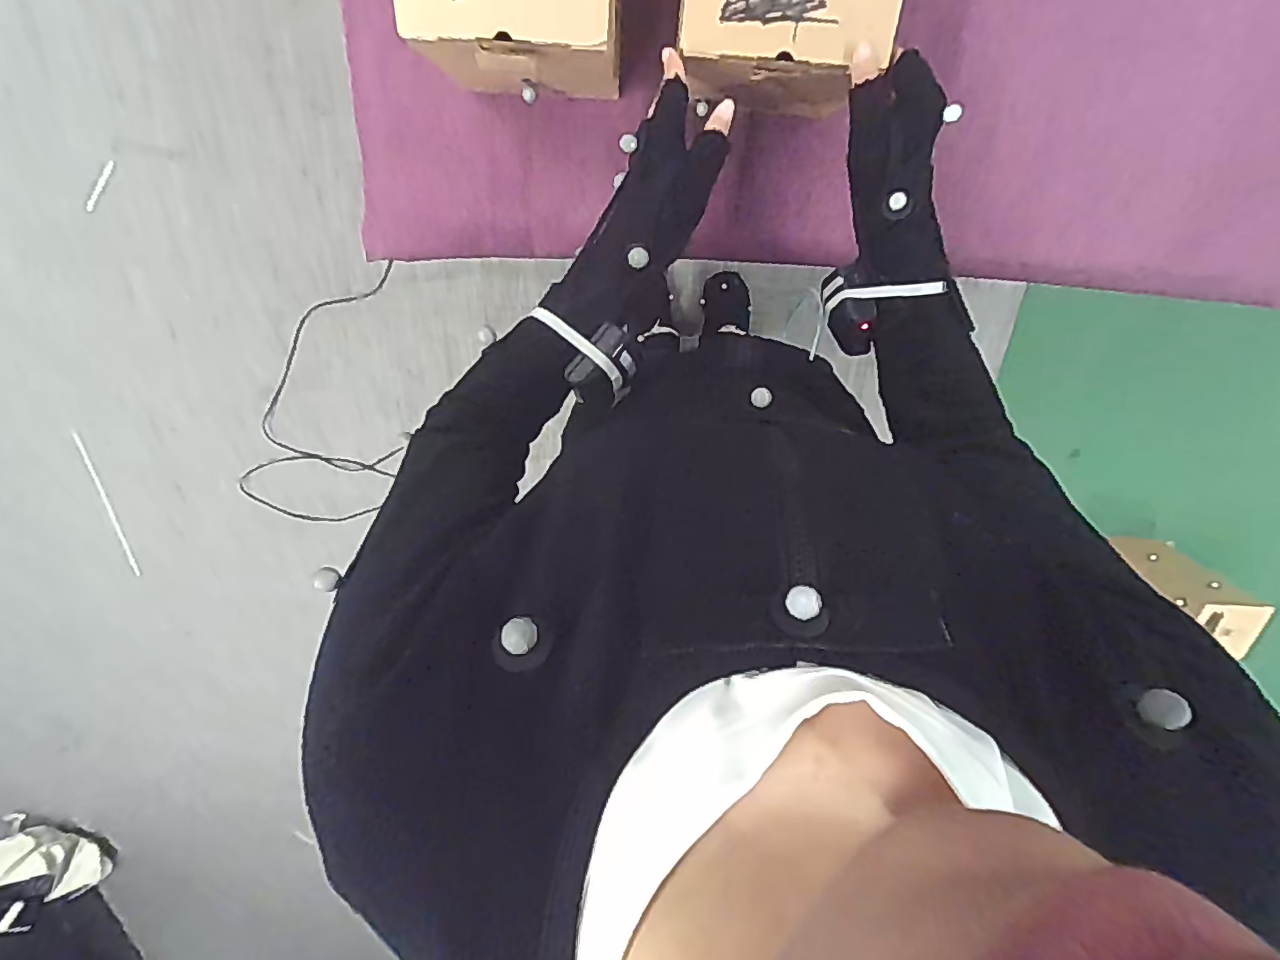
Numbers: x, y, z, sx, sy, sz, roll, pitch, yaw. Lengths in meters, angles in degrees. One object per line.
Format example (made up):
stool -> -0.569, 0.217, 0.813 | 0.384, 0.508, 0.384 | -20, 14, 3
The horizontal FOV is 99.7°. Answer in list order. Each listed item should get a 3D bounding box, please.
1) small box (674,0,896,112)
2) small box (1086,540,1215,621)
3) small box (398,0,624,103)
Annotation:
small box -> 0.120, -0.441, 0.468 | 0.168, 0.176, 0.179 | 5, 113, -1
small box -> 1.452, 0.283, 1.551 | 0.179, 0.176, 0.168 | 3, 114, 0
small box -> -0.100, -0.454, 0.465 | 0.168, 0.176, 0.179 | 4, 114, 0
